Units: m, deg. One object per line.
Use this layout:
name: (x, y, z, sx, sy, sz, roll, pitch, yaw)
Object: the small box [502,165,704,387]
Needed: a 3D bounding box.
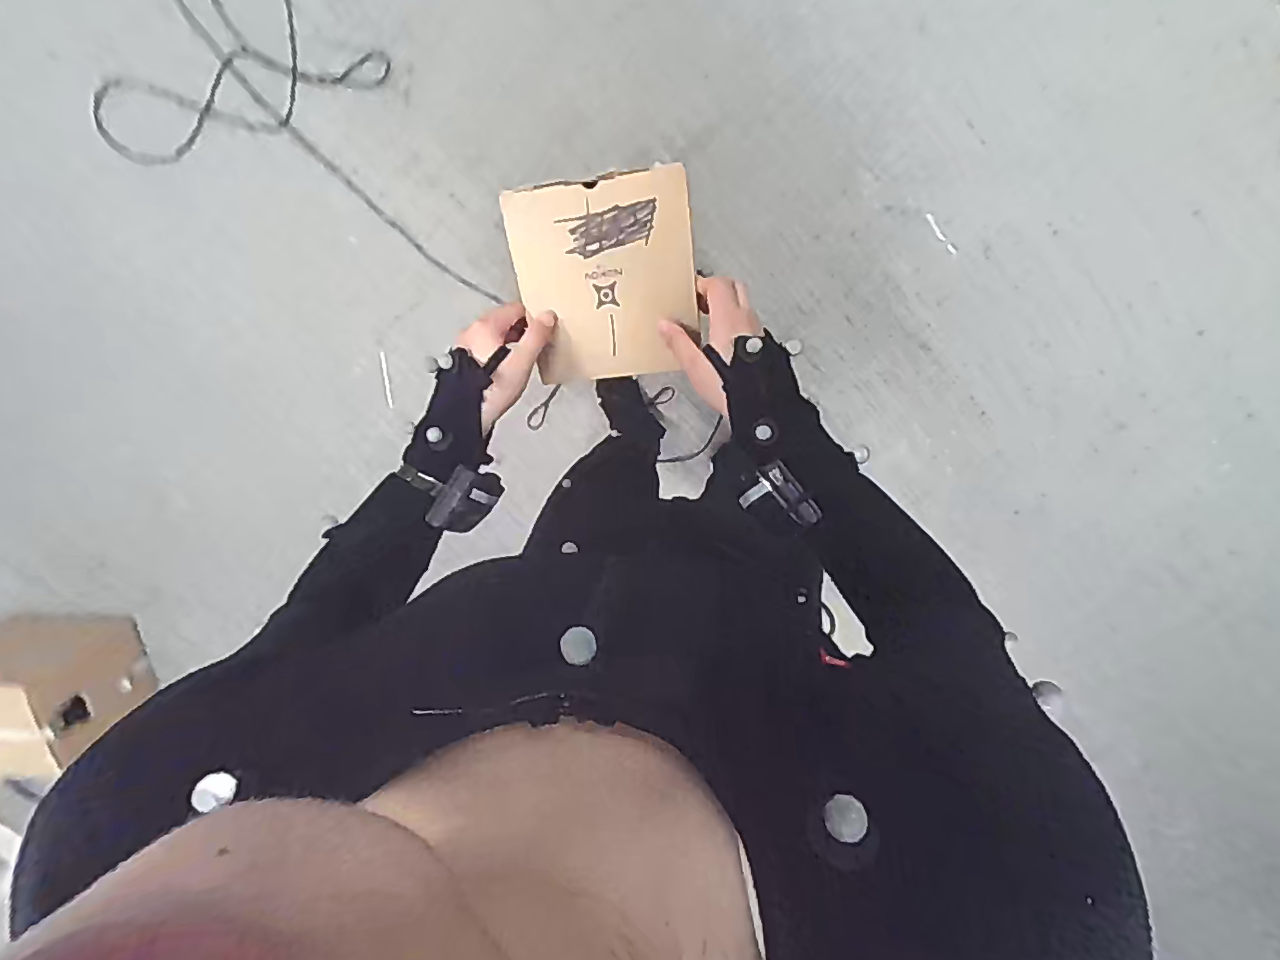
small box: (-0.022, -0.208, 0.557, 0.168, 0.176, 0.179, -3, 116, 9)
